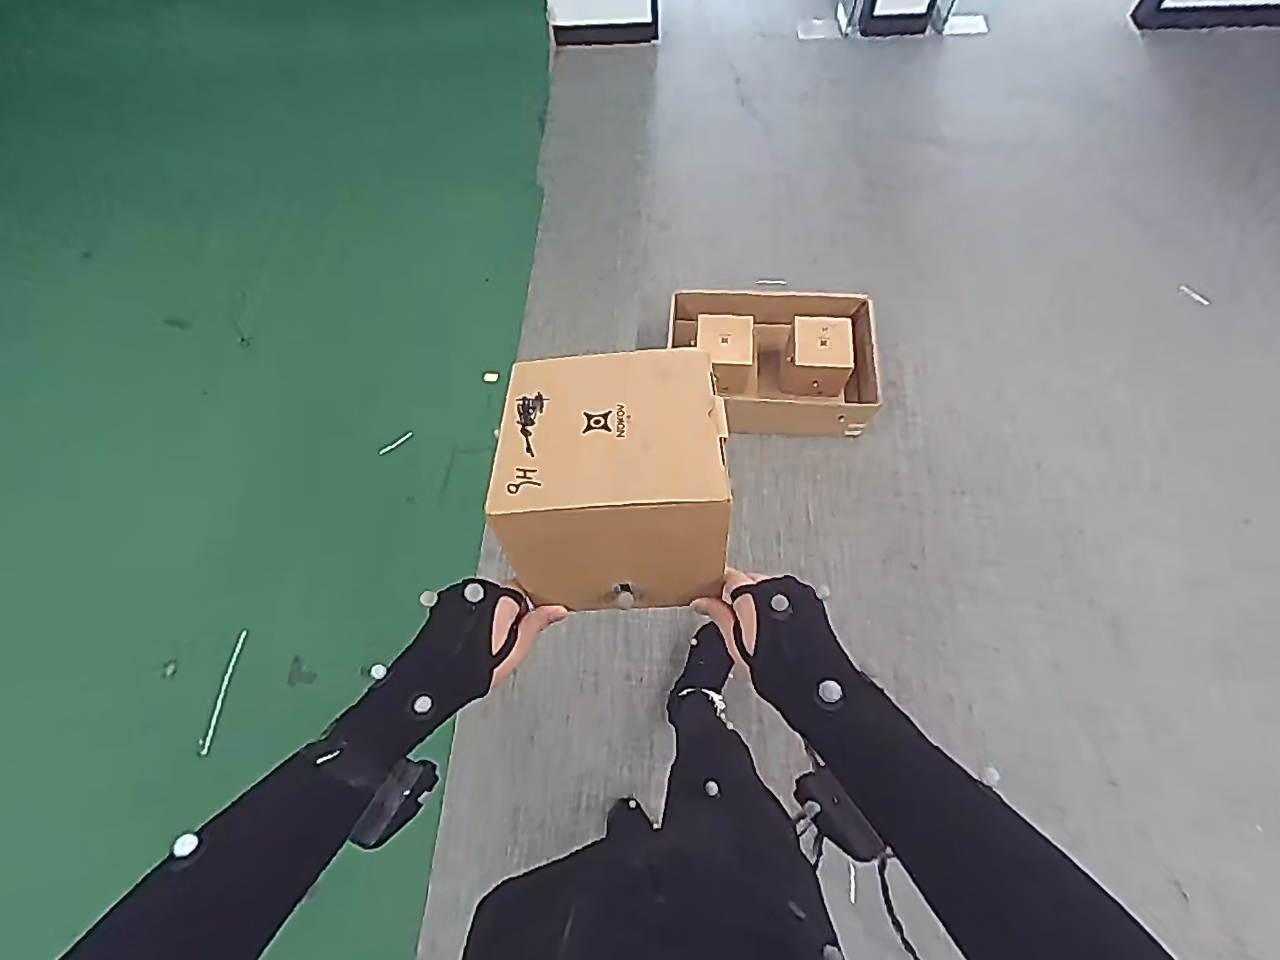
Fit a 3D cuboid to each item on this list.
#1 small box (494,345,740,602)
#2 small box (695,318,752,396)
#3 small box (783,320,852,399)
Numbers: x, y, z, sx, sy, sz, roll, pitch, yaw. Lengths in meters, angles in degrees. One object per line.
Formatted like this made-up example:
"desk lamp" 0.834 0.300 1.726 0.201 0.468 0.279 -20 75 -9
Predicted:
"small box" -0.013 -0.001 0.488 0.179 0.176 0.168 -2 51 2
"small box" 0.250 -0.375 1.667 0.168 0.176 0.179 3 66 4
"small box" 0.535 -0.363 1.646 0.168 0.176 0.179 4 67 5
